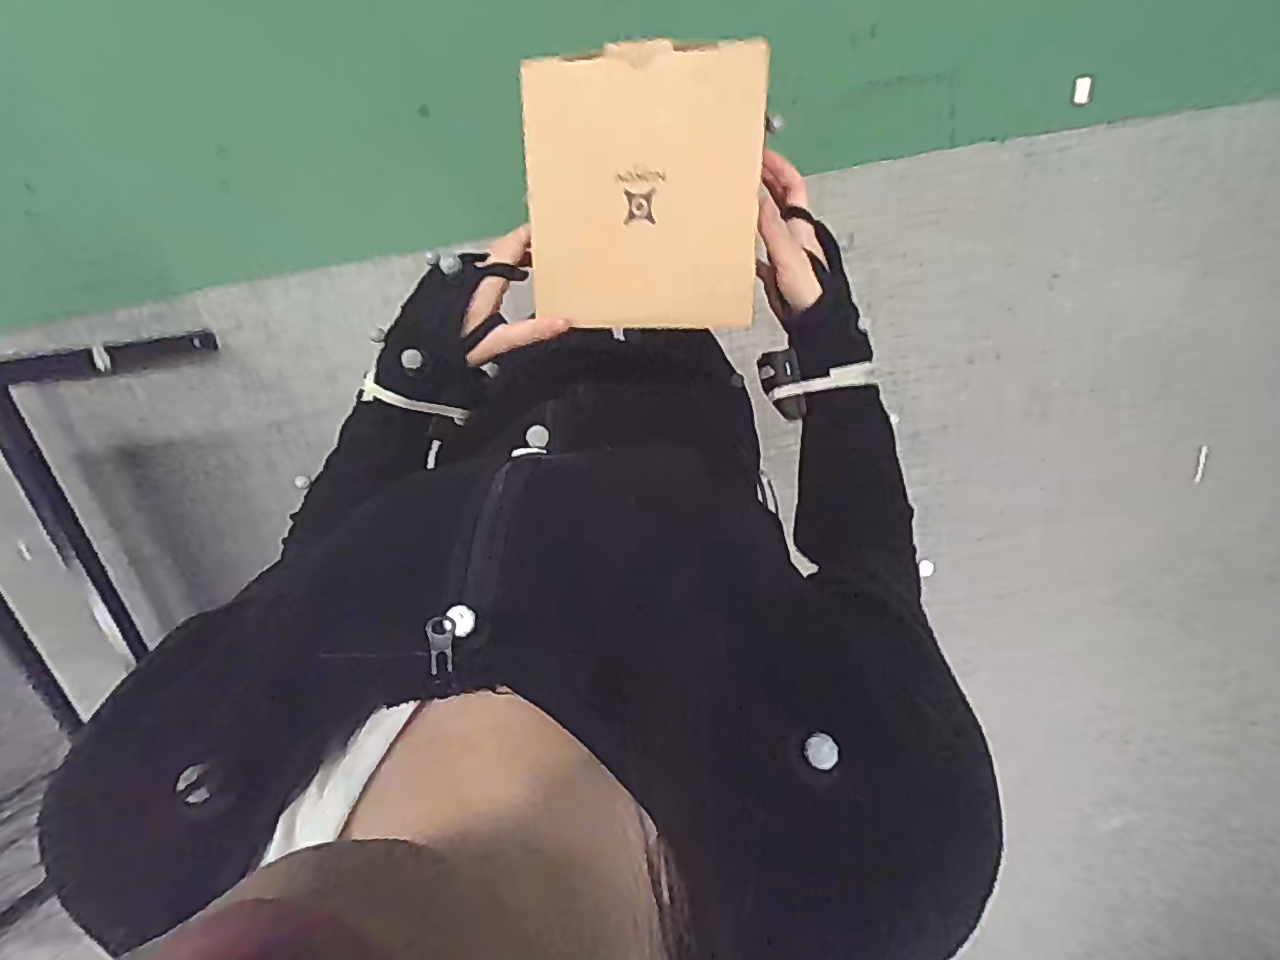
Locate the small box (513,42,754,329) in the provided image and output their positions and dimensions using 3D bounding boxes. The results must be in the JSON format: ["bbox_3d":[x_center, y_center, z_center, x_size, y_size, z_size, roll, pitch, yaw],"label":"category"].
[{"bbox_3d":[0.008,-0.222,0.456,0.168,0.176,0.179,2,107,10],"label":"small box"}]
